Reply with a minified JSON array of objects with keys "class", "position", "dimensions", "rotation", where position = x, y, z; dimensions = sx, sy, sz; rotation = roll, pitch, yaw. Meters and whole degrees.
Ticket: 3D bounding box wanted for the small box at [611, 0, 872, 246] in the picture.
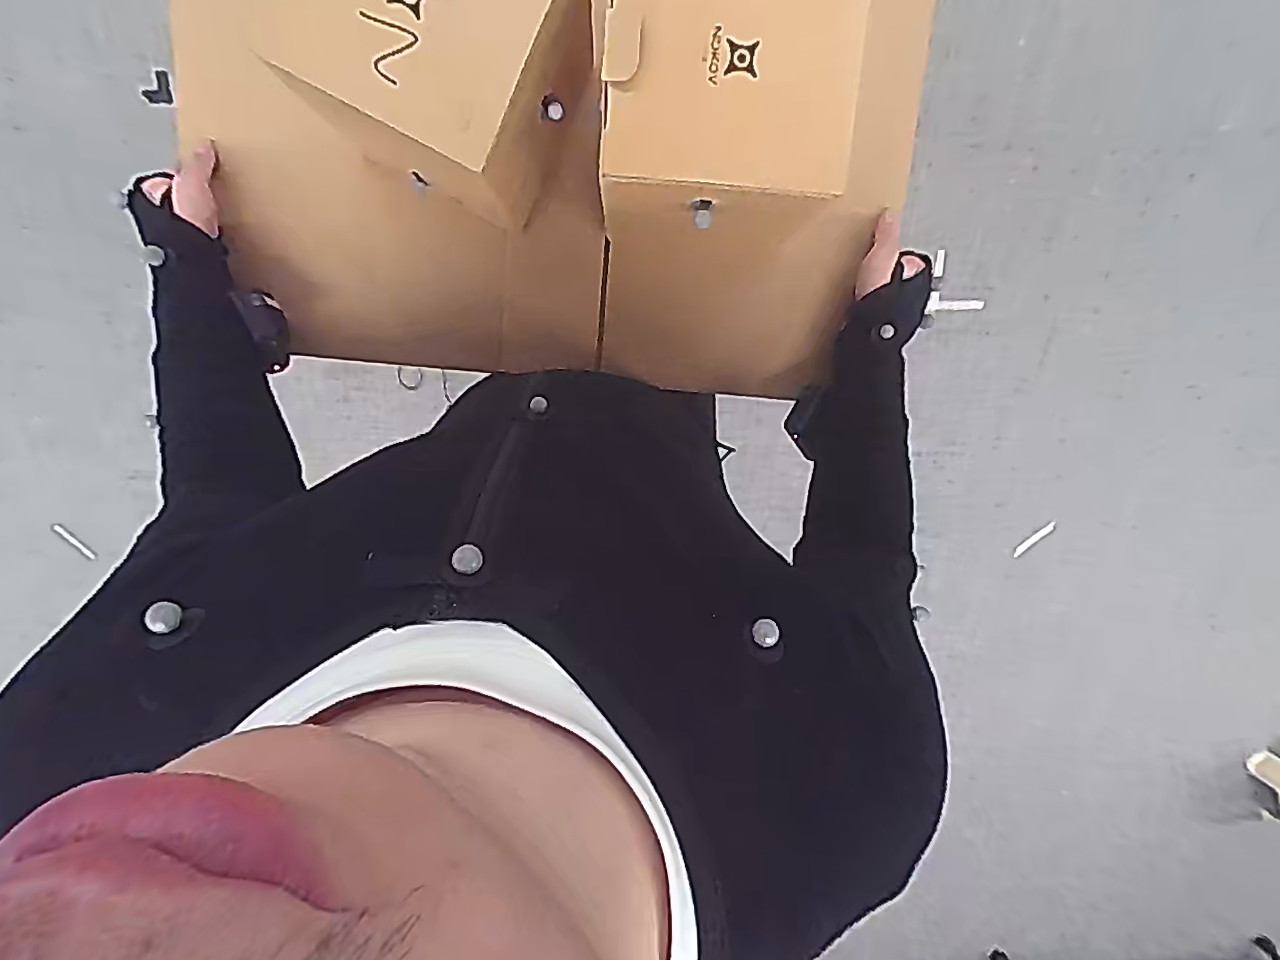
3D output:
[{"class":"small box","position":[0.069,-0.308,0.461],"dimensions":[0.179,0.176,0.168],"rotation":[4,100,-1]}]
